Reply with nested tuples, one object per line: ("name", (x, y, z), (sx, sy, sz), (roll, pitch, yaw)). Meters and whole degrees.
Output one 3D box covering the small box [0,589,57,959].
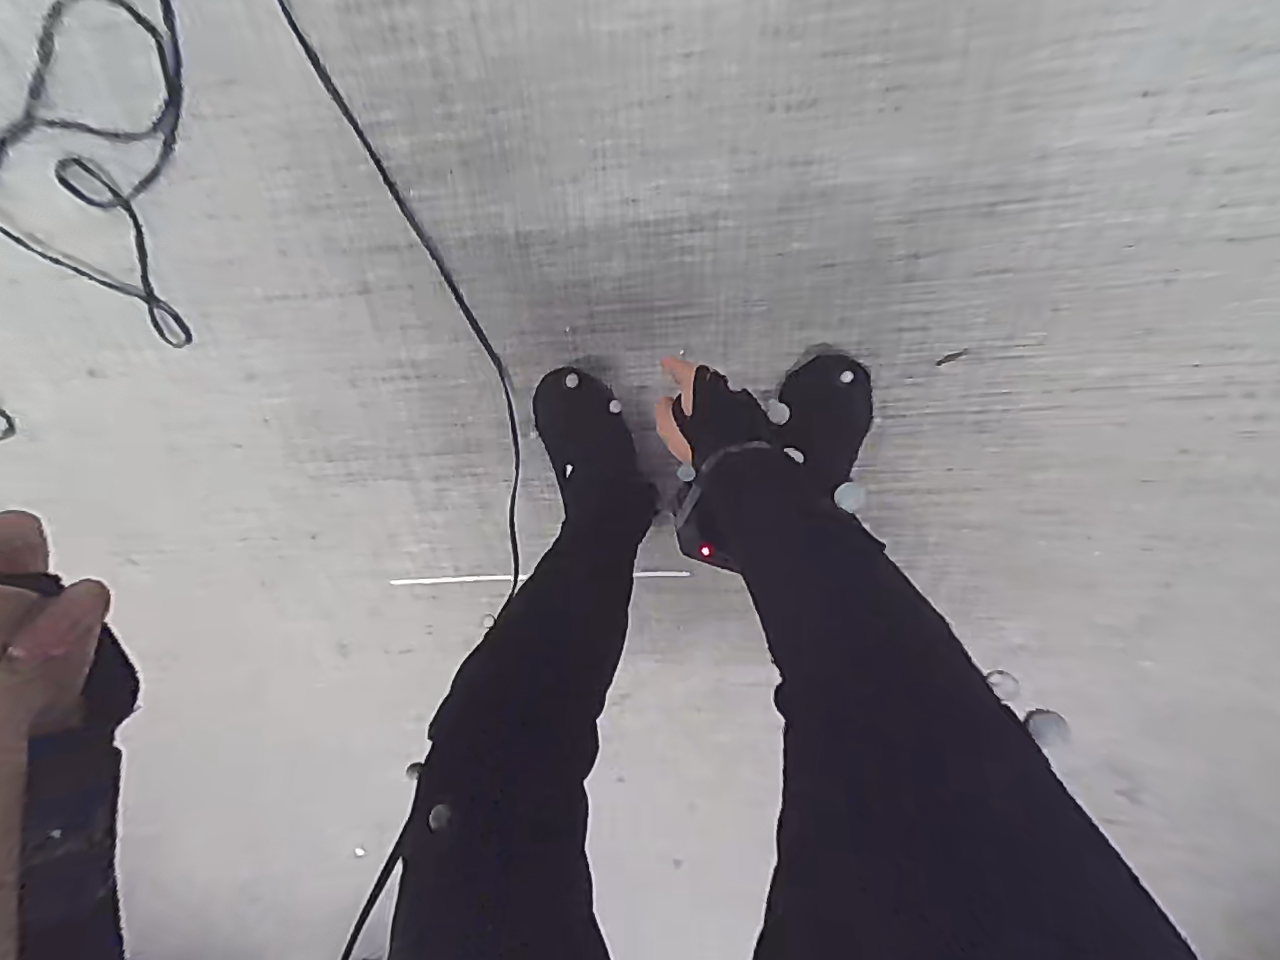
("small box", (-0.239, 0.110, 0.093), (0.176, 0.168, 0.179), (0, 167, -36))
